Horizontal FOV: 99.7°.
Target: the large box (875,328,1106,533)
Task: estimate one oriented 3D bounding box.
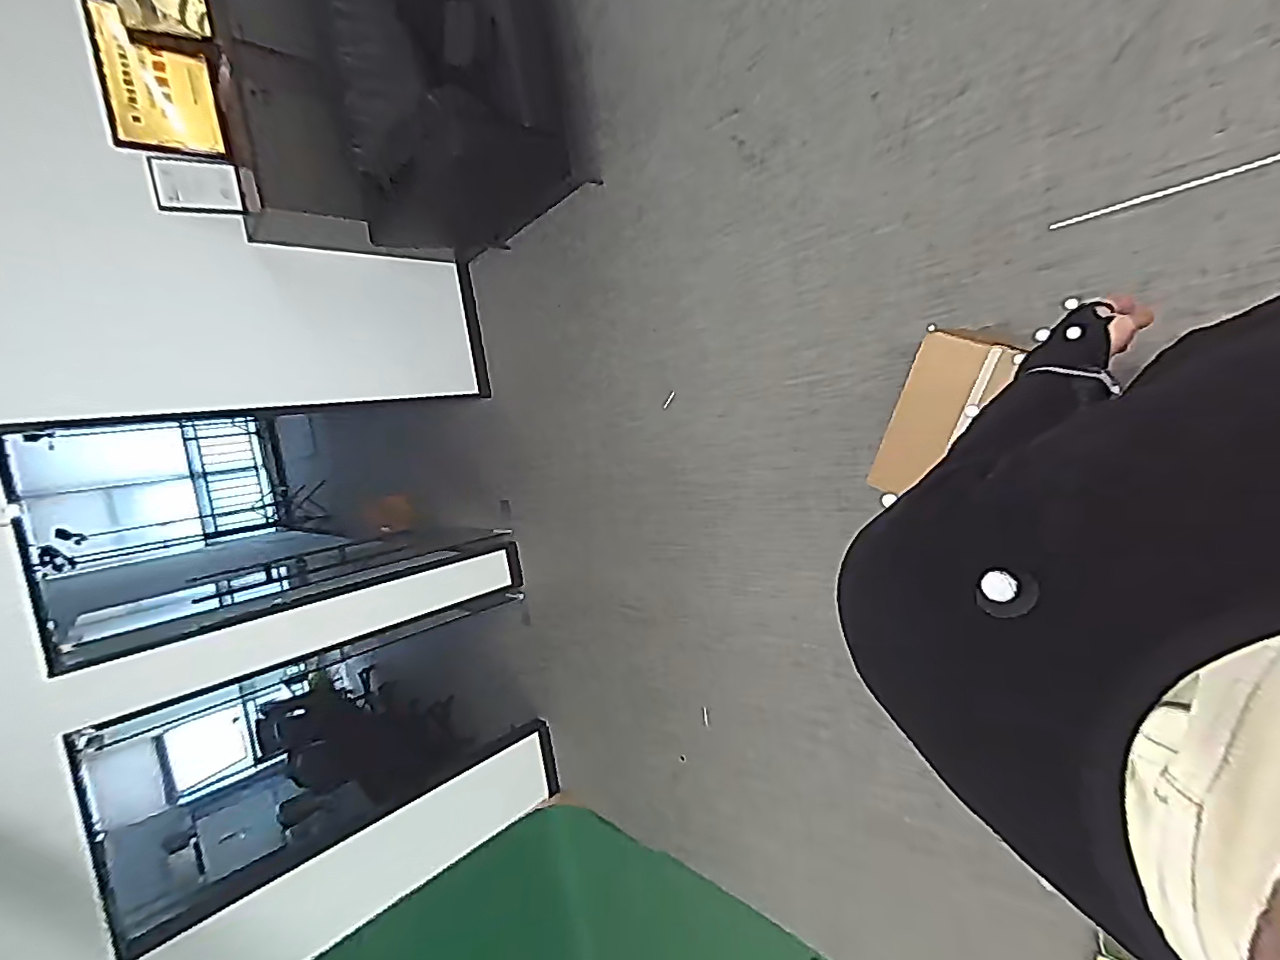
[{"bbox_3d":[0.855,-0.136,1.342,0.320,0.320,0.408,32,121,38],"label":"large box"}]
